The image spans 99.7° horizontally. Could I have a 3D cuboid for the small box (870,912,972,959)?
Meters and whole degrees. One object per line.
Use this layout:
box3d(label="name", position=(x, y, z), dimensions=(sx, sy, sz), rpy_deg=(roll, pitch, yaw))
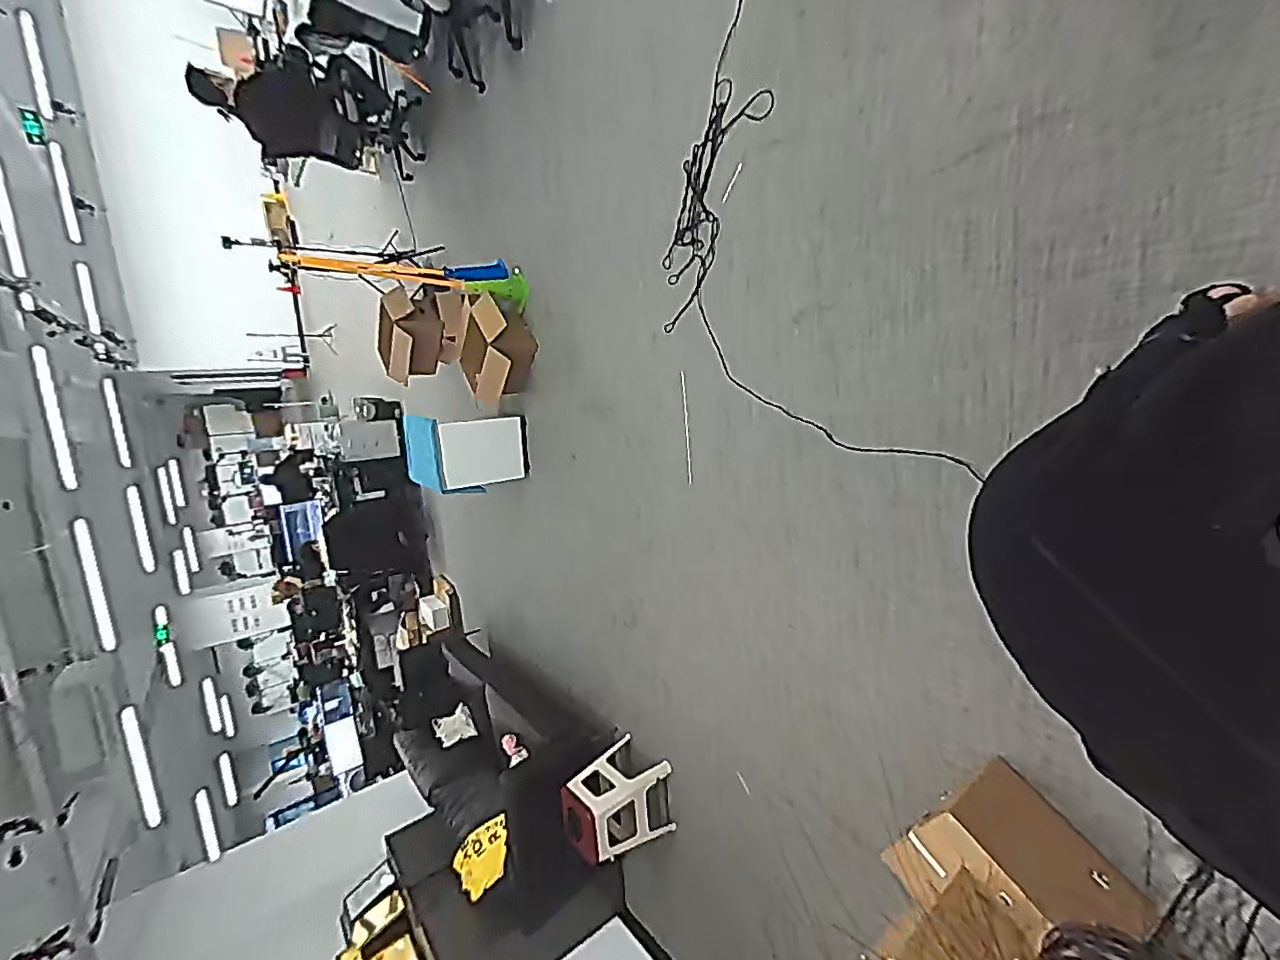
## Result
box3d(label="small box", position=(0.603, 1.066, 1.143), dimensions=(0.168, 0.176, 0.179), rpy_deg=(49, 136, 34))
